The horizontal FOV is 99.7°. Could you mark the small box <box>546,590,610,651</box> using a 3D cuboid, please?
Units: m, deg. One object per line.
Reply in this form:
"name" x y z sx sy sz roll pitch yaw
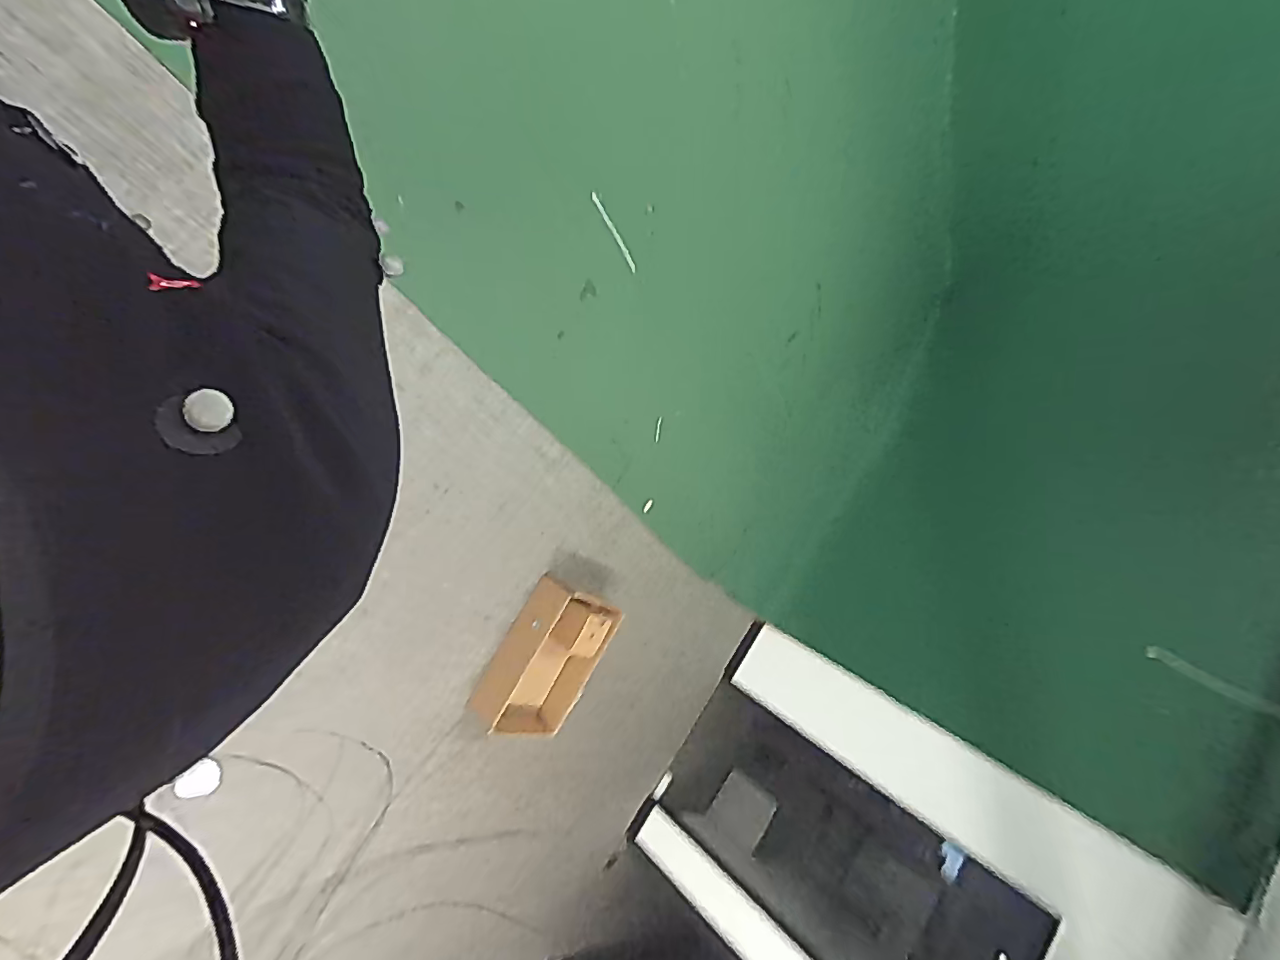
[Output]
"small box" -0.264 0.584 2.248 0.168 0.176 0.179 32 87 -53
